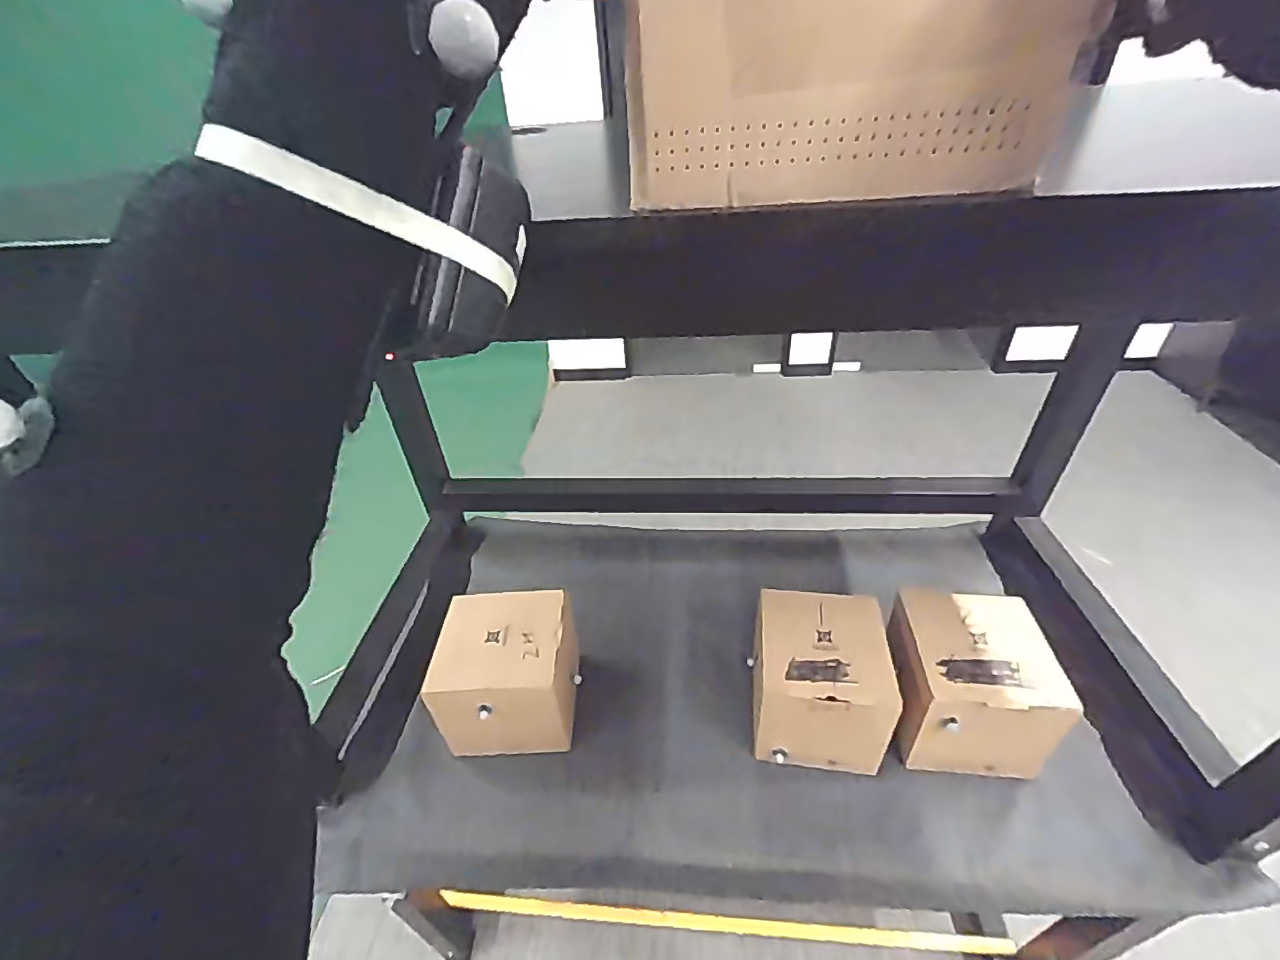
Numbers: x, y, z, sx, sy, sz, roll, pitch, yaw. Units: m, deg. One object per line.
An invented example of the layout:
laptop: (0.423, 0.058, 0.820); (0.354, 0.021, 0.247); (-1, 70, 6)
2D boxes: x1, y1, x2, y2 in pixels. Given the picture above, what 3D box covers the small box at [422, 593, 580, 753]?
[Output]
small box: (-0.194, 0.290, 0.811); (0.179, 0.176, 0.168); (-2, 37, 2)
